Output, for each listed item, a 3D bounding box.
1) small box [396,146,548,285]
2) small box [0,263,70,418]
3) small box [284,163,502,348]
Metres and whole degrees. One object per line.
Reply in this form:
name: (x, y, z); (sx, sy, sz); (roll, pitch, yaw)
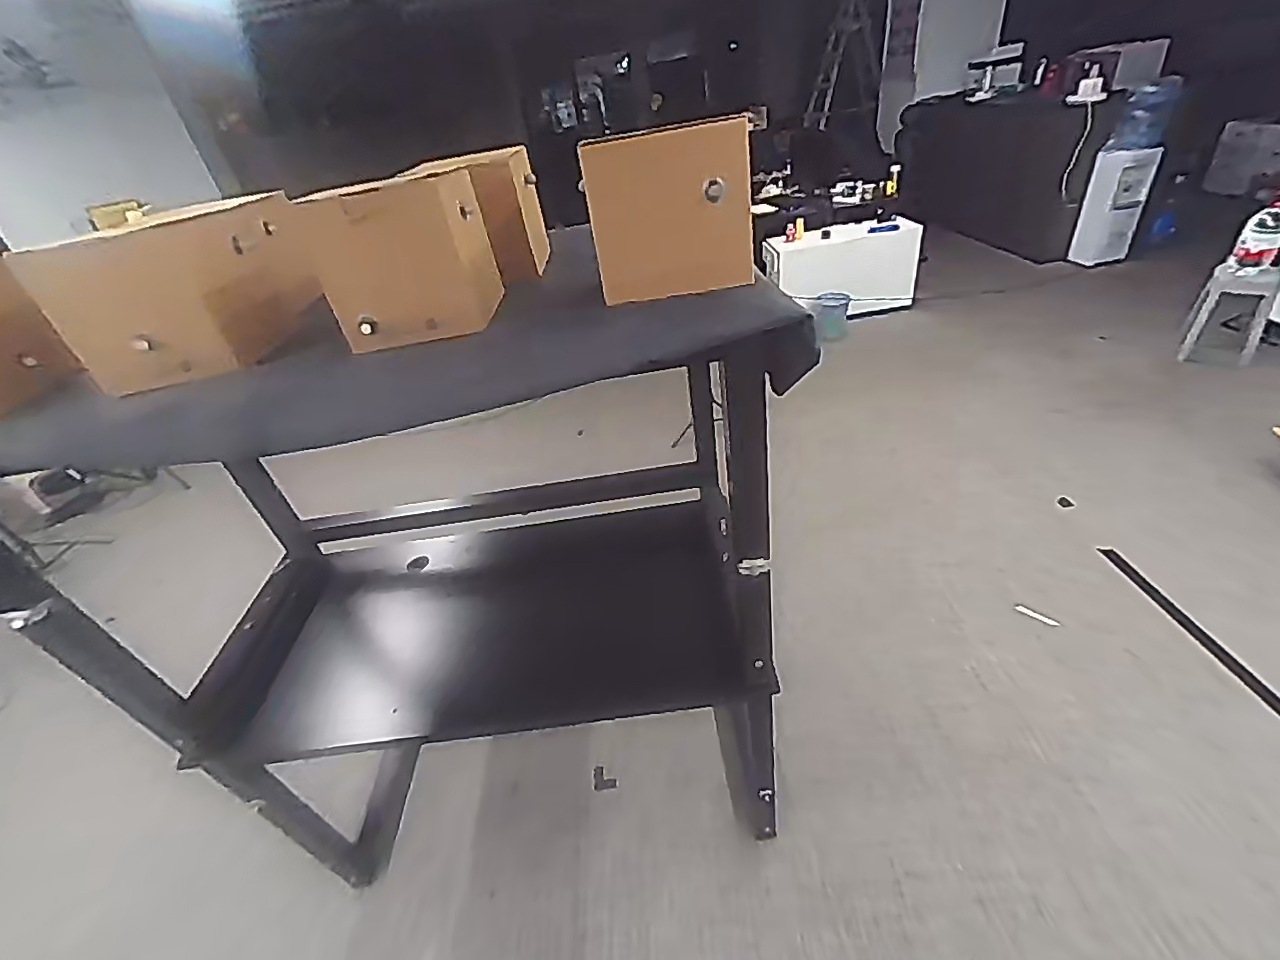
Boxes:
small box: (-0.247, -0.409, 0.849); (0.168, 0.176, 0.179); (-9, 37, 3)
small box: (-0.893, -0.164, 0.675); (0.168, 0.176, 0.179); (-13, 36, -3)
small box: (-0.281, -0.273, 0.667); (0.168, 0.176, 0.179); (-10, 34, 2)
